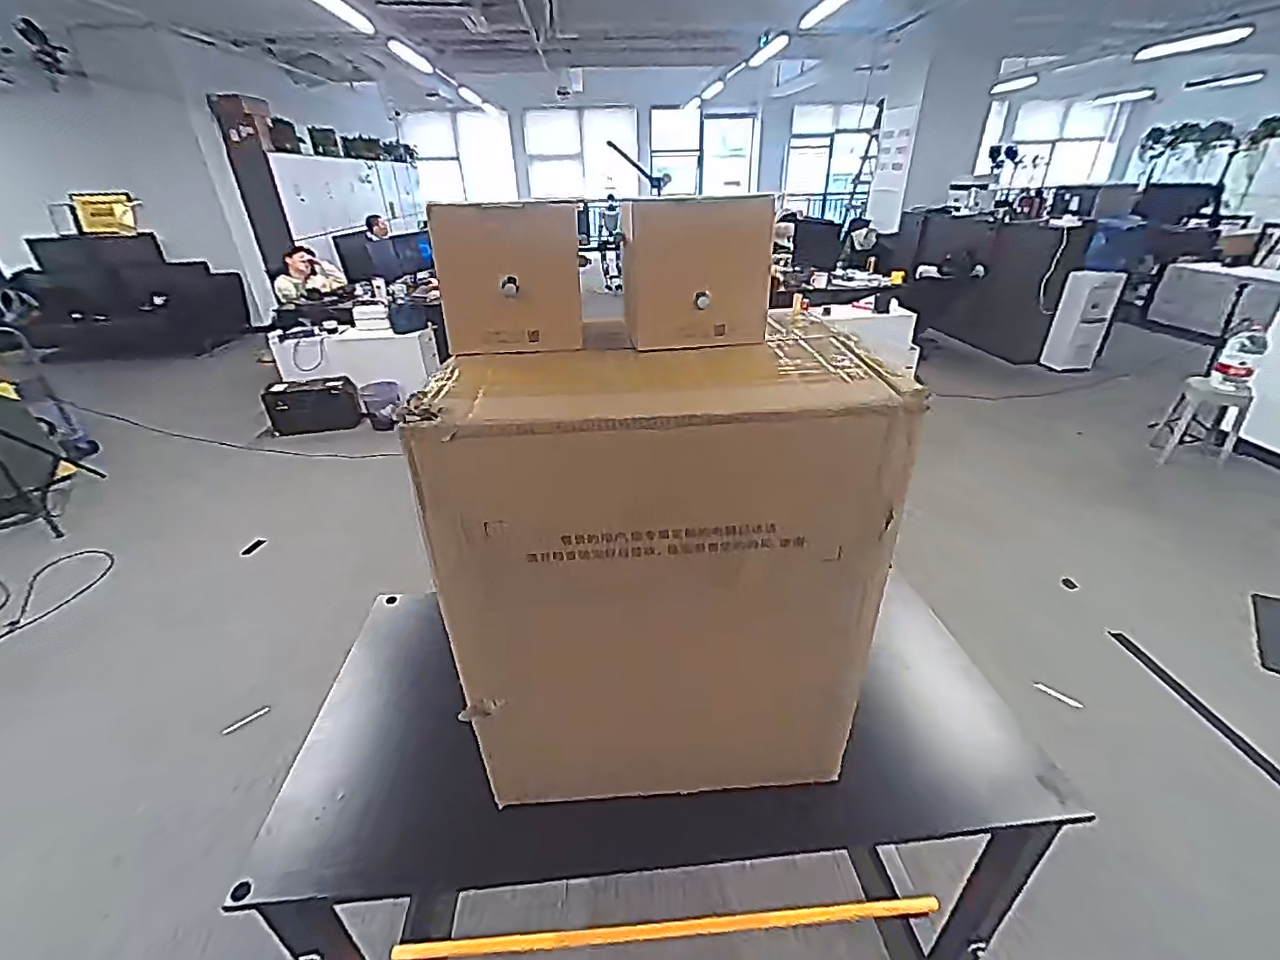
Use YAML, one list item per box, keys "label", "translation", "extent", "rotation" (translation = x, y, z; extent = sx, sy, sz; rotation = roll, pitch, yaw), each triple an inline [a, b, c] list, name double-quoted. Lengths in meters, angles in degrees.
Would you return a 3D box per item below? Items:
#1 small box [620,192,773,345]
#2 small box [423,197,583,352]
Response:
- label: "small box"
  translation: [0.063, -0.277, 0.707]
  extent: [0.168, 0.176, 0.179]
  rotation: [-5, 27, -5]
- label: "small box"
  translation: [-0.165, -0.267, 0.702]
  extent: [0.168, 0.176, 0.179]
  rotation: [-4, 29, -7]
